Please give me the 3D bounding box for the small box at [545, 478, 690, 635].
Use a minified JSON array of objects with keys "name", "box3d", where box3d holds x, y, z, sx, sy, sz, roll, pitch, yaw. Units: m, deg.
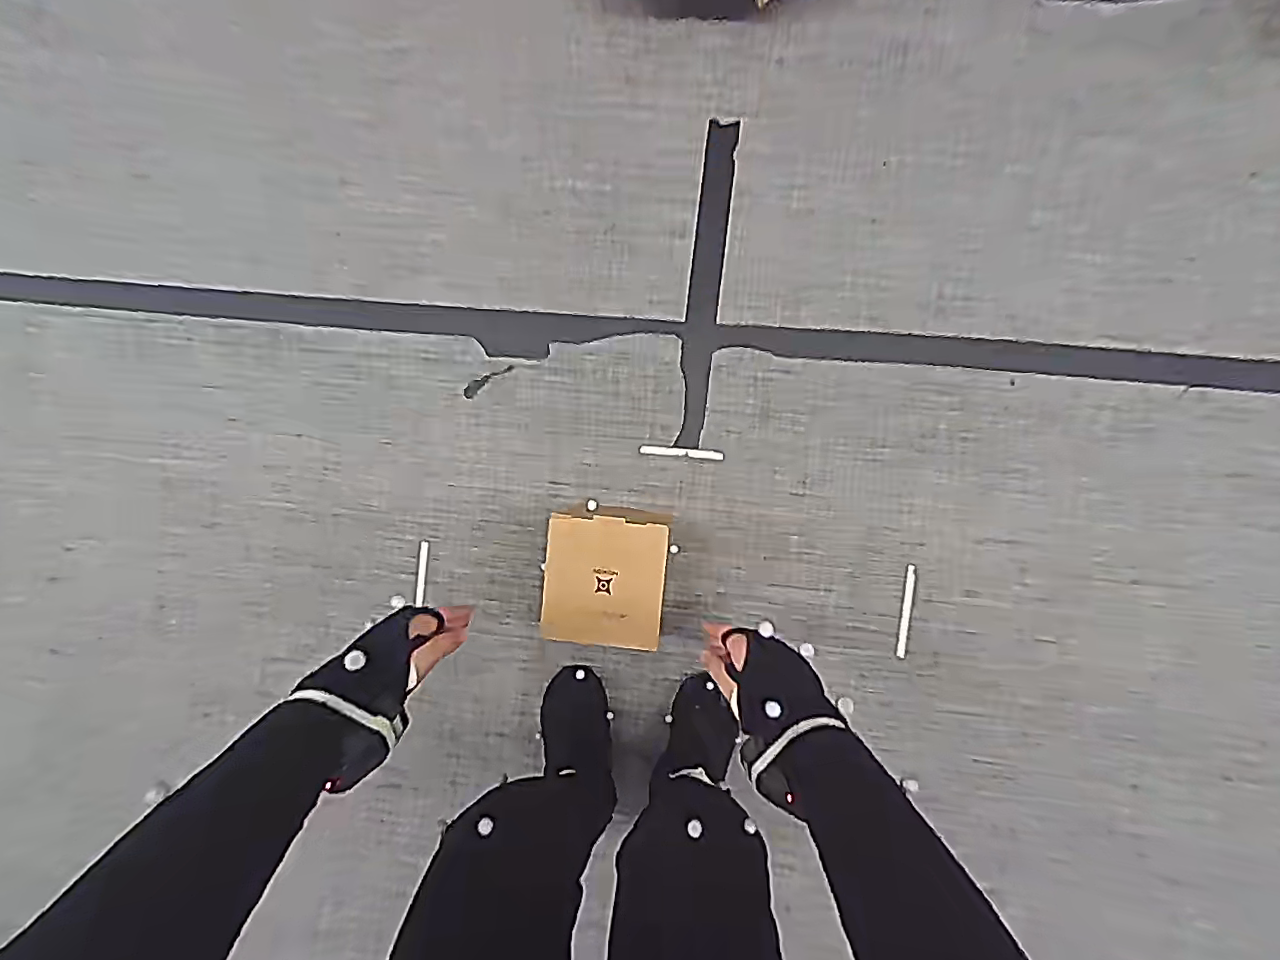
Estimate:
[{"name":"small box","box3d":[-0.025,0.091,0.733,0.168,0.176,0.179,5,94,4]}]
